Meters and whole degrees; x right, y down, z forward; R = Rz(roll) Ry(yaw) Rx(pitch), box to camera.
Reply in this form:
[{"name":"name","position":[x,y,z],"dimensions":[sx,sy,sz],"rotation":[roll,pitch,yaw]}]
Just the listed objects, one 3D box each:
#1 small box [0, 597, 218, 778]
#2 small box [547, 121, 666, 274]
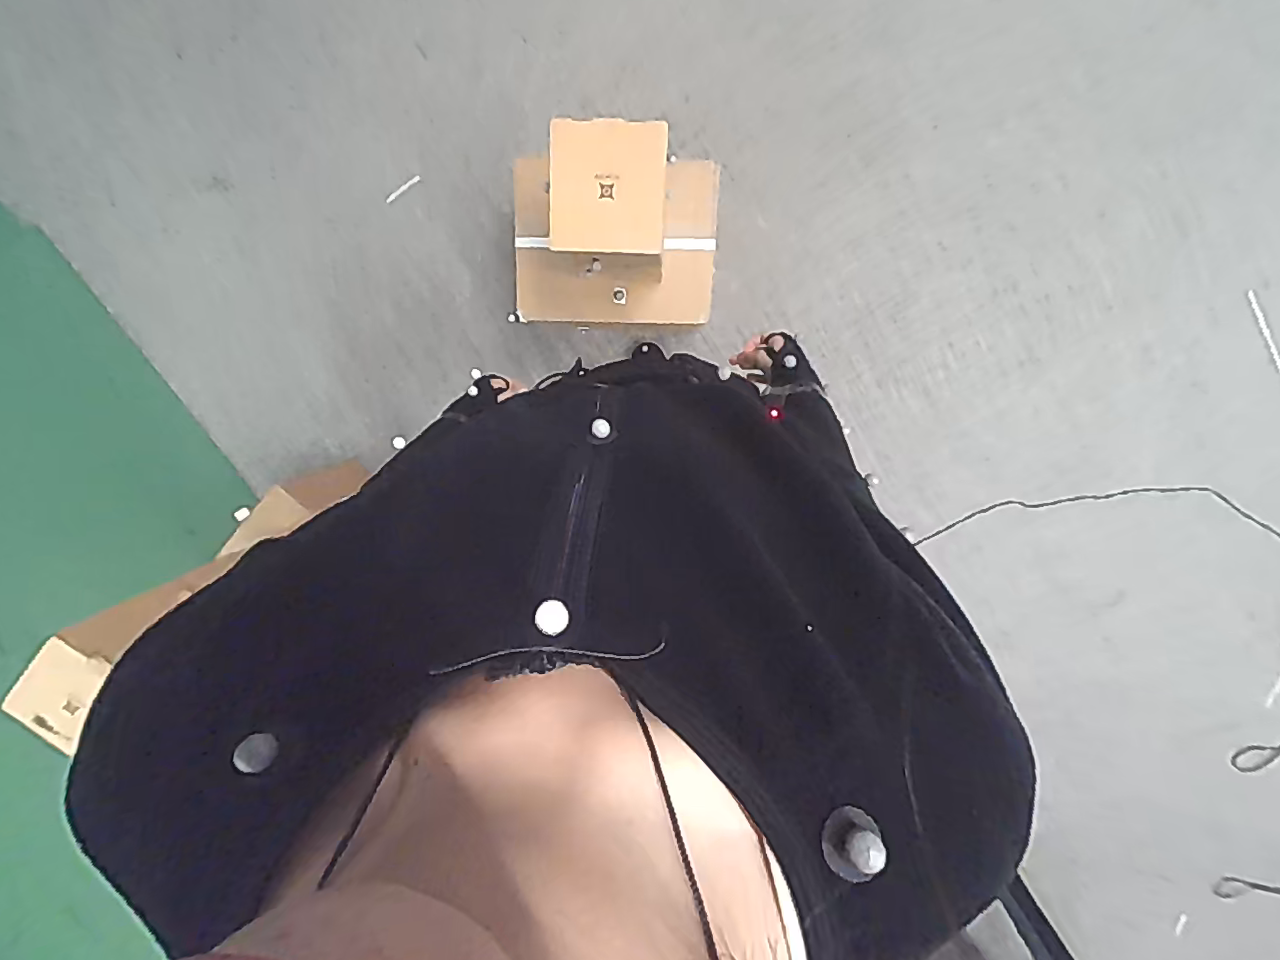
[{"name":"small box","position":[-0.840,0.322,0.874],"dimensions":[0.168,0.176,0.179],"rotation":[43,99,-7]},{"name":"small box","position":[-0.046,-0.424,0.840],"dimensions":[0.168,0.176,0.179],"rotation":[2,101,2]}]
